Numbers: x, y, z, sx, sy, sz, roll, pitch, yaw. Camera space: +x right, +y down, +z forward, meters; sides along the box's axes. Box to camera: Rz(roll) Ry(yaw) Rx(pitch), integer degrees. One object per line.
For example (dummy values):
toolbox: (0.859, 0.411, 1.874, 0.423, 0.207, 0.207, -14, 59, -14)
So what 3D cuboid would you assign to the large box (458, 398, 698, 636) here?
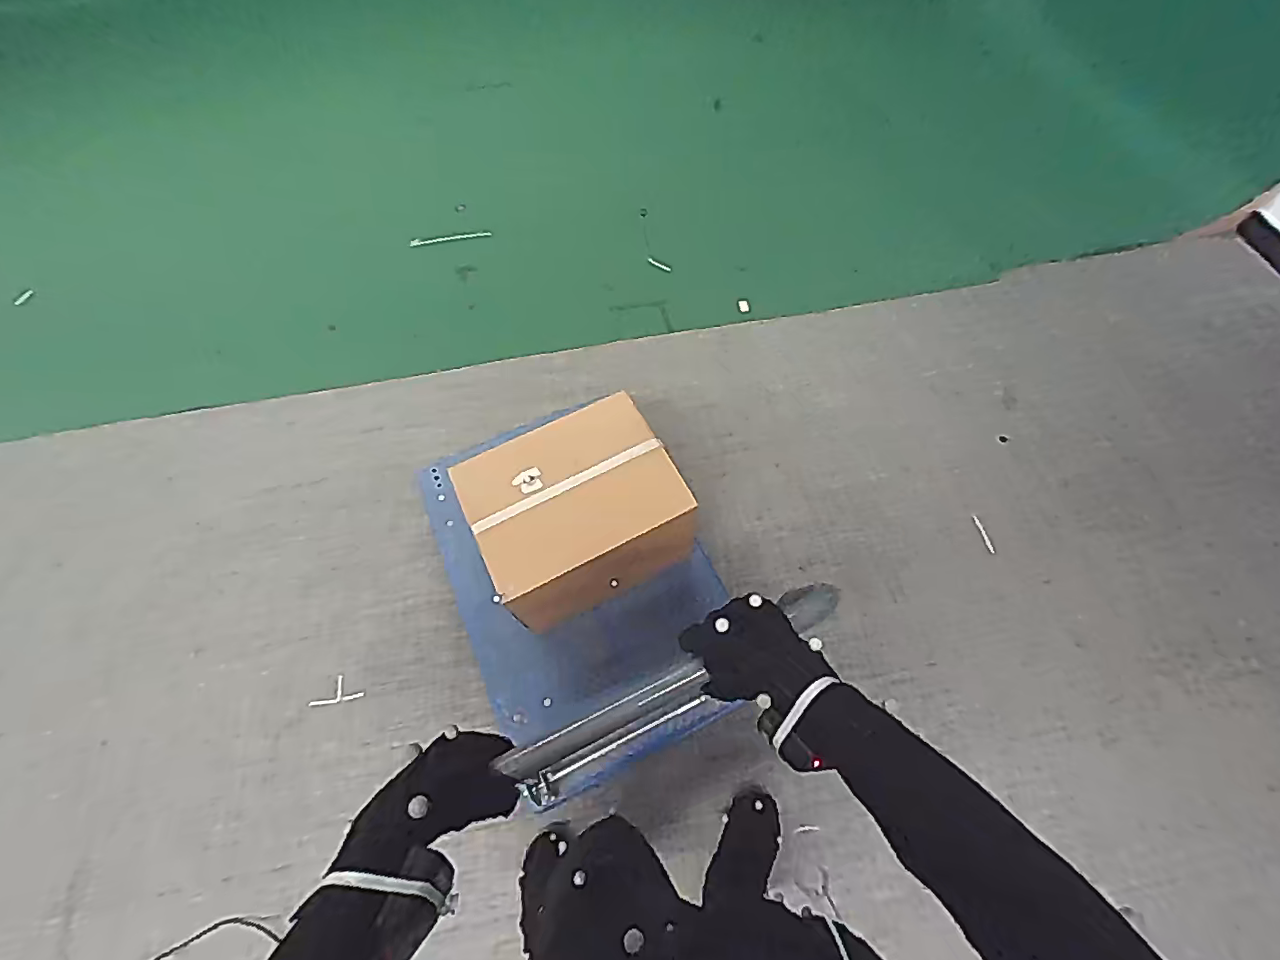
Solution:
large box: (-0.120, 0.093, 1.208, 0.408, 0.320, 0.320, -28, 65, -9)
